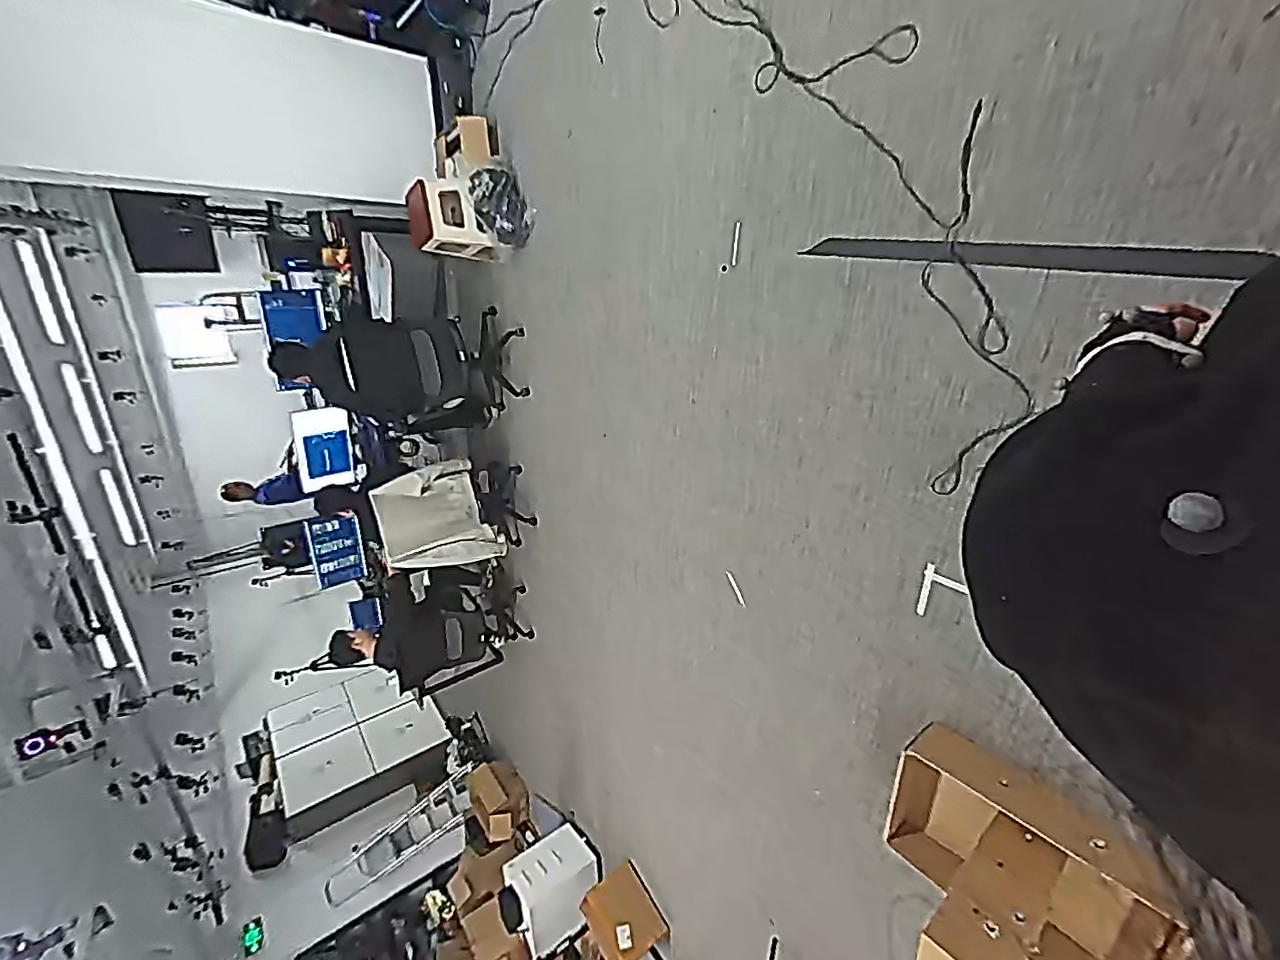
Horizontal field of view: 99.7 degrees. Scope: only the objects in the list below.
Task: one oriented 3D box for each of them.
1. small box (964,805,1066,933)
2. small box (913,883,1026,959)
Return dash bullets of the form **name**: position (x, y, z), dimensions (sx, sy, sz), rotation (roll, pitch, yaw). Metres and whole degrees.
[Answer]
- **small box**: position (0.990, 1.017, 1.427), dimensions (0.168, 0.176, 0.179), rotation (20, 118, 47)
- **small box**: position (0.742, 1.083, 1.225), dimensions (0.168, 0.176, 0.179), rotation (19, 117, 48)
